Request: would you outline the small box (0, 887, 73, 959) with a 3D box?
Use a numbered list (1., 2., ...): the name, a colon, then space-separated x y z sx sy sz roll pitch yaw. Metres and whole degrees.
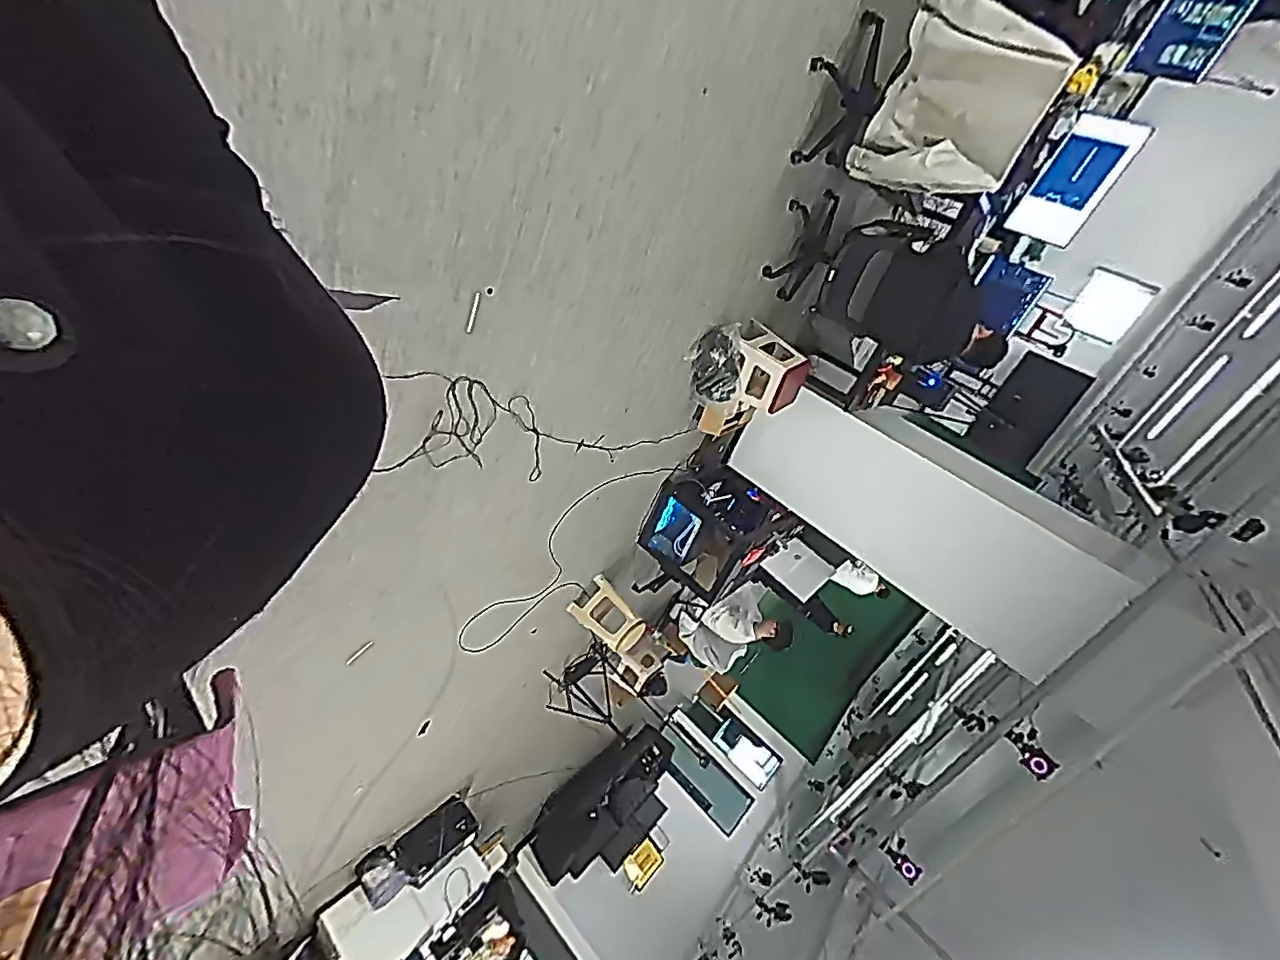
1. small box: -1.054 0.818 0.878 0.168 0.176 0.179 -15 137 -53
